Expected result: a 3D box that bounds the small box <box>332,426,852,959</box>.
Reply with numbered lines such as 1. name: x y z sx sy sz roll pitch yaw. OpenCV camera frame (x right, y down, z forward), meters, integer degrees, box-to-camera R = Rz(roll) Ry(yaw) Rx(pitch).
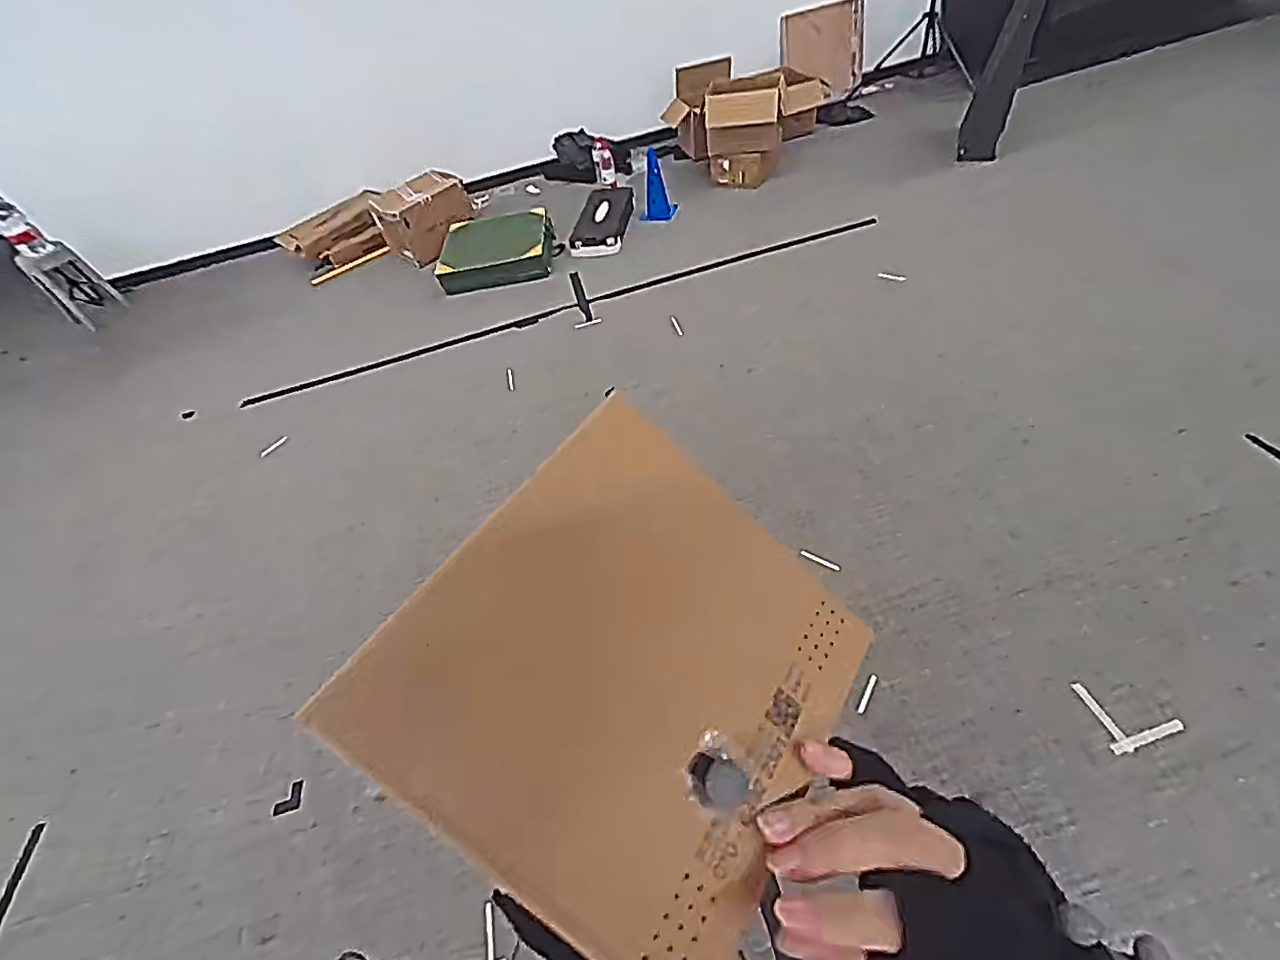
1. small box: -0.027 0.108 0.295 0.176 0.179 0.168 42 61 -5
